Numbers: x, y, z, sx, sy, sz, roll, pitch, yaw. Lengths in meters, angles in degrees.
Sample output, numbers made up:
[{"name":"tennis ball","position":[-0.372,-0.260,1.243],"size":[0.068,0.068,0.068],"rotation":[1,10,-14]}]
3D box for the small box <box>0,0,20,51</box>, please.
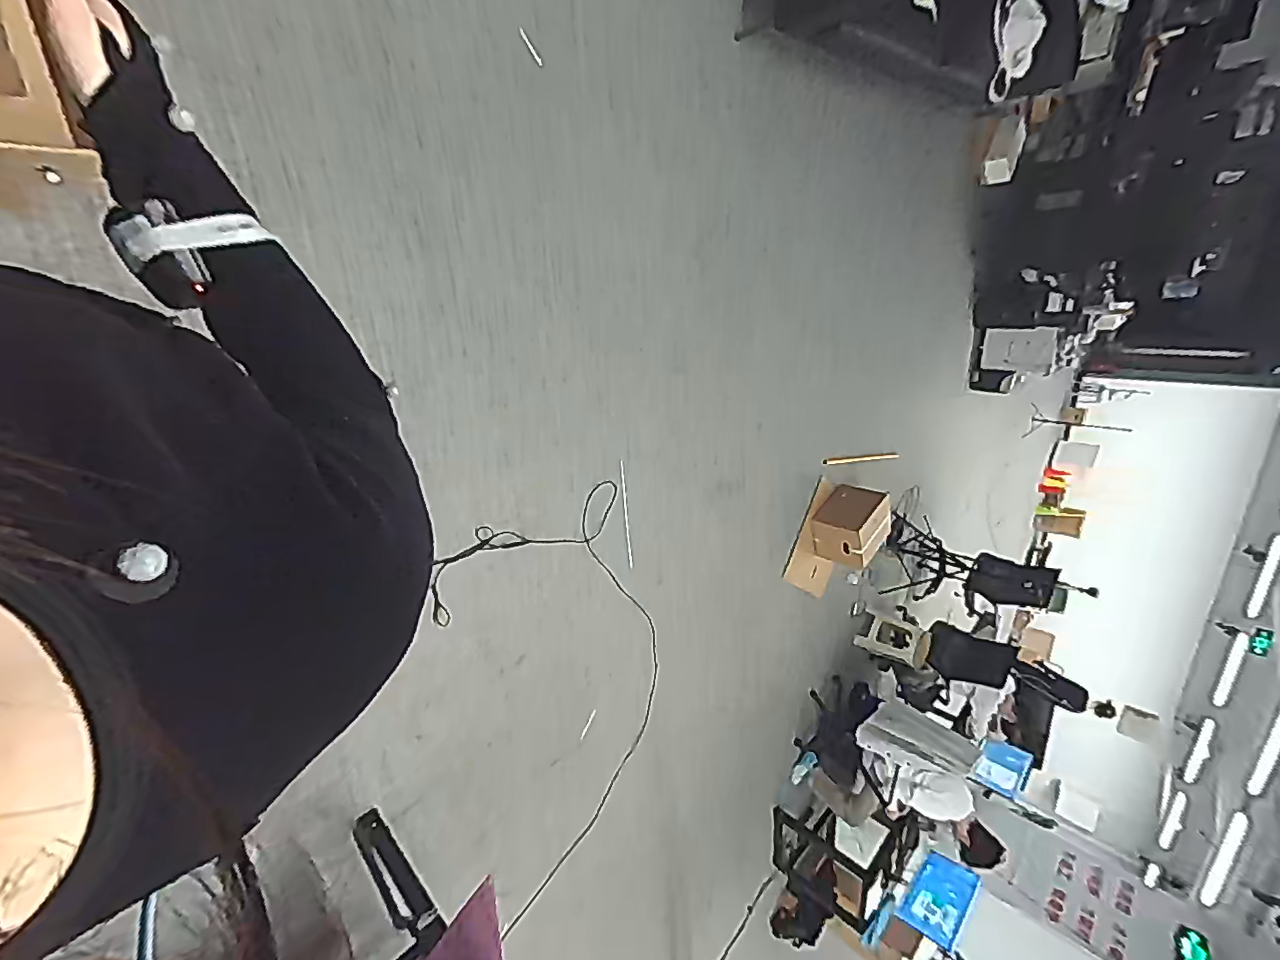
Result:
[{"name":"small box","position":[-0.616,-0.471,0.408],"size":[0.168,0.176,0.179],"rotation":[-13,112,-42]}]
